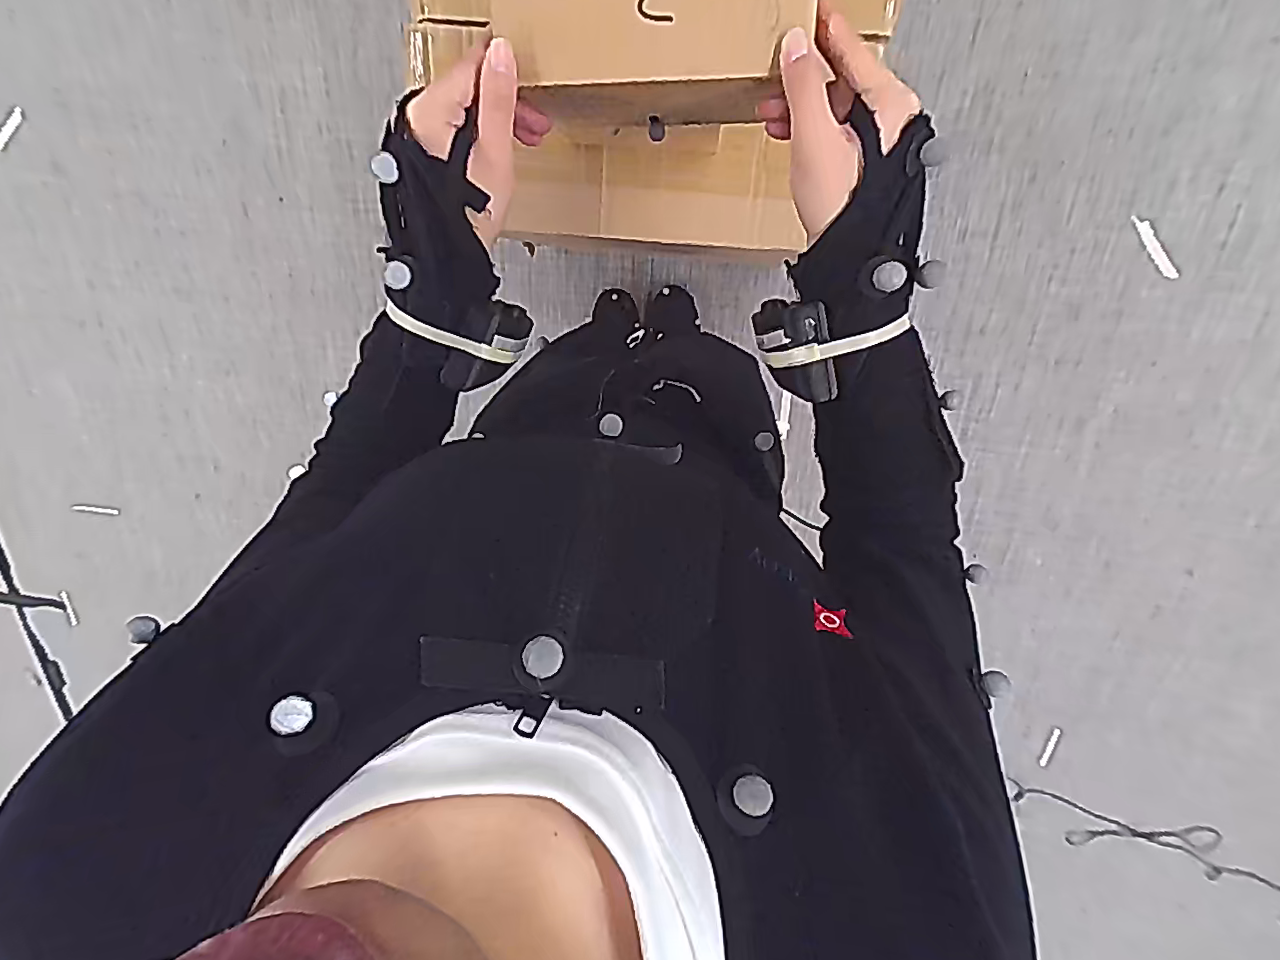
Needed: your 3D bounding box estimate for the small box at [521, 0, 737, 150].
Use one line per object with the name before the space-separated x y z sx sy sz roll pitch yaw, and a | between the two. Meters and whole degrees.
small box | -0.001 -0.424 0.507 0.179 0.176 0.168 7 111 4
